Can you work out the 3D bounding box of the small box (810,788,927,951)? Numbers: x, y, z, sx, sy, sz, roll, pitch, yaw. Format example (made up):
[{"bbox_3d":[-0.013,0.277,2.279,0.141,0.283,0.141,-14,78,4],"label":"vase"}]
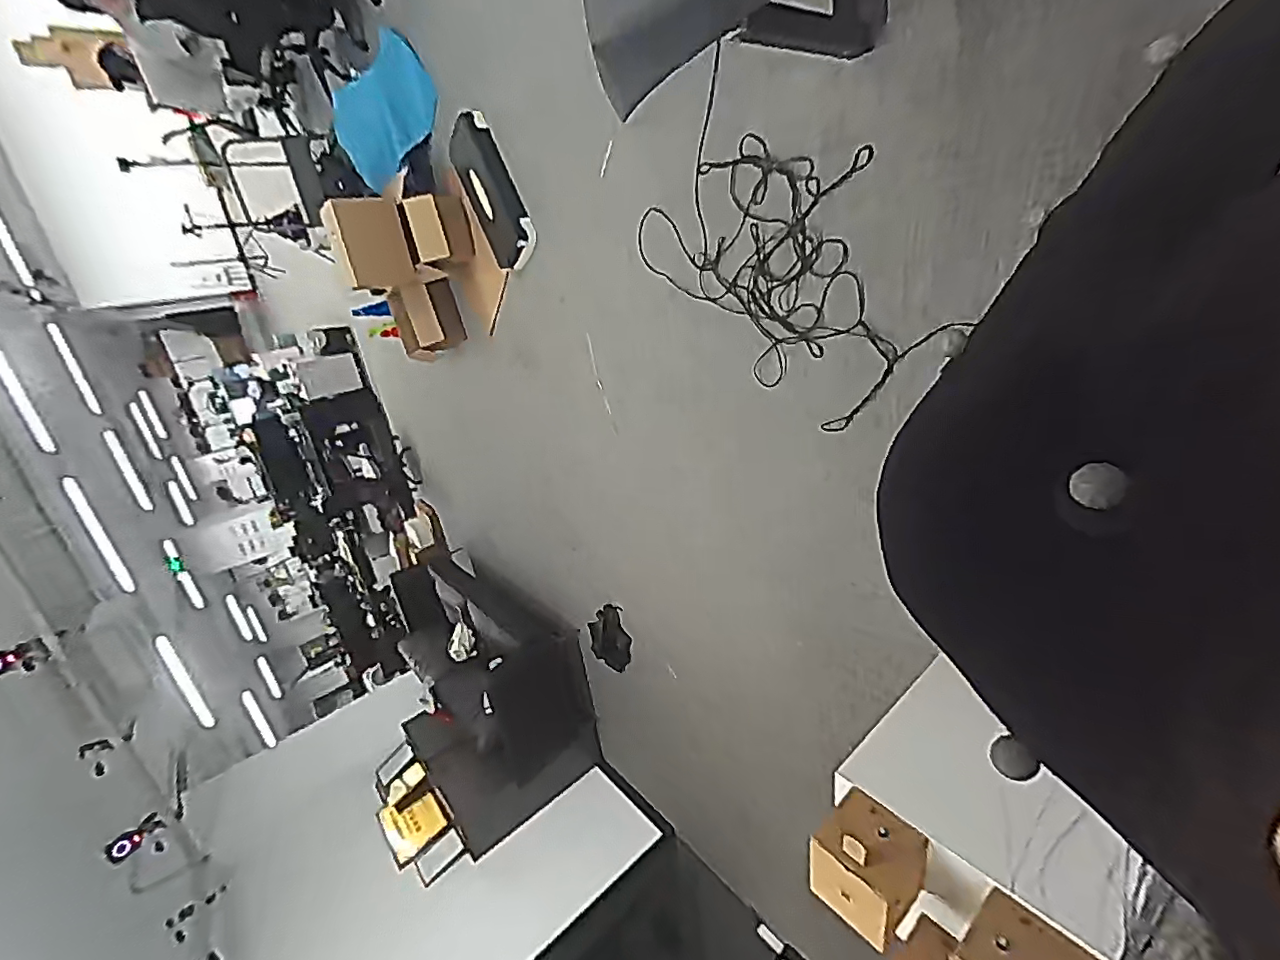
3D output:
[{"bbox_3d":[0.471,0.795,1.119,0.168,0.176,0.179,20,126,48],"label":"small box"}]

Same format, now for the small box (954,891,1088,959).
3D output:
[{"bbox_3d":[0.646,0.860,0.915,0.168,0.176,0.179,22,129,49],"label":"small box"}]
